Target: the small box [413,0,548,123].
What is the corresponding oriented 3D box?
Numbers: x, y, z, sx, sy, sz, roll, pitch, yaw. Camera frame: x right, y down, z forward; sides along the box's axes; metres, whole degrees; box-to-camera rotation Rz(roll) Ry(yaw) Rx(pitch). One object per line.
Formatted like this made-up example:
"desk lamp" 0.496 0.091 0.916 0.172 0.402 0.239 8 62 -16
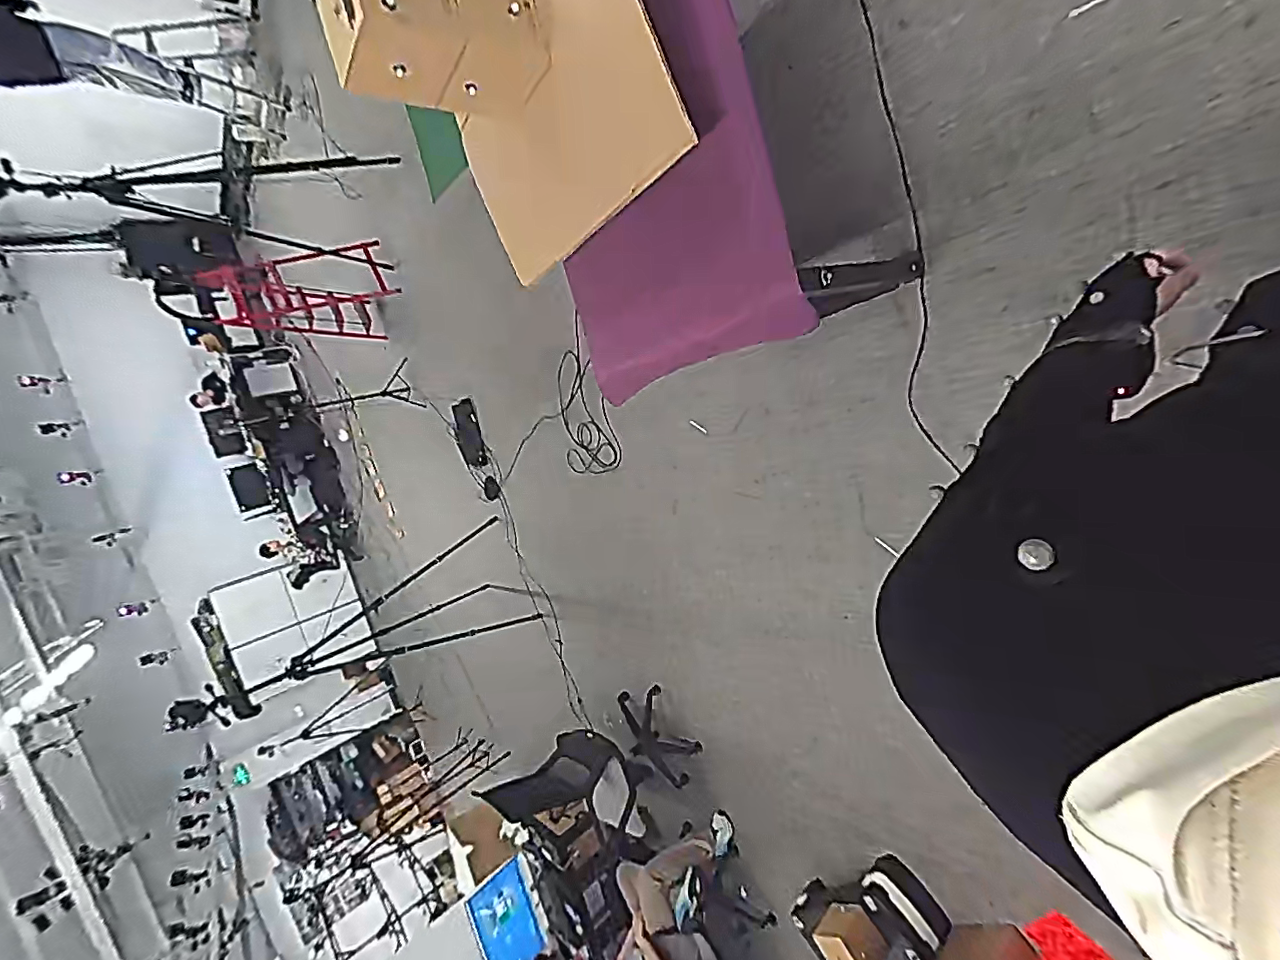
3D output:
"small box" -0.301 -0.817 1.025 0.179 0.176 0.168 -12 96 51
